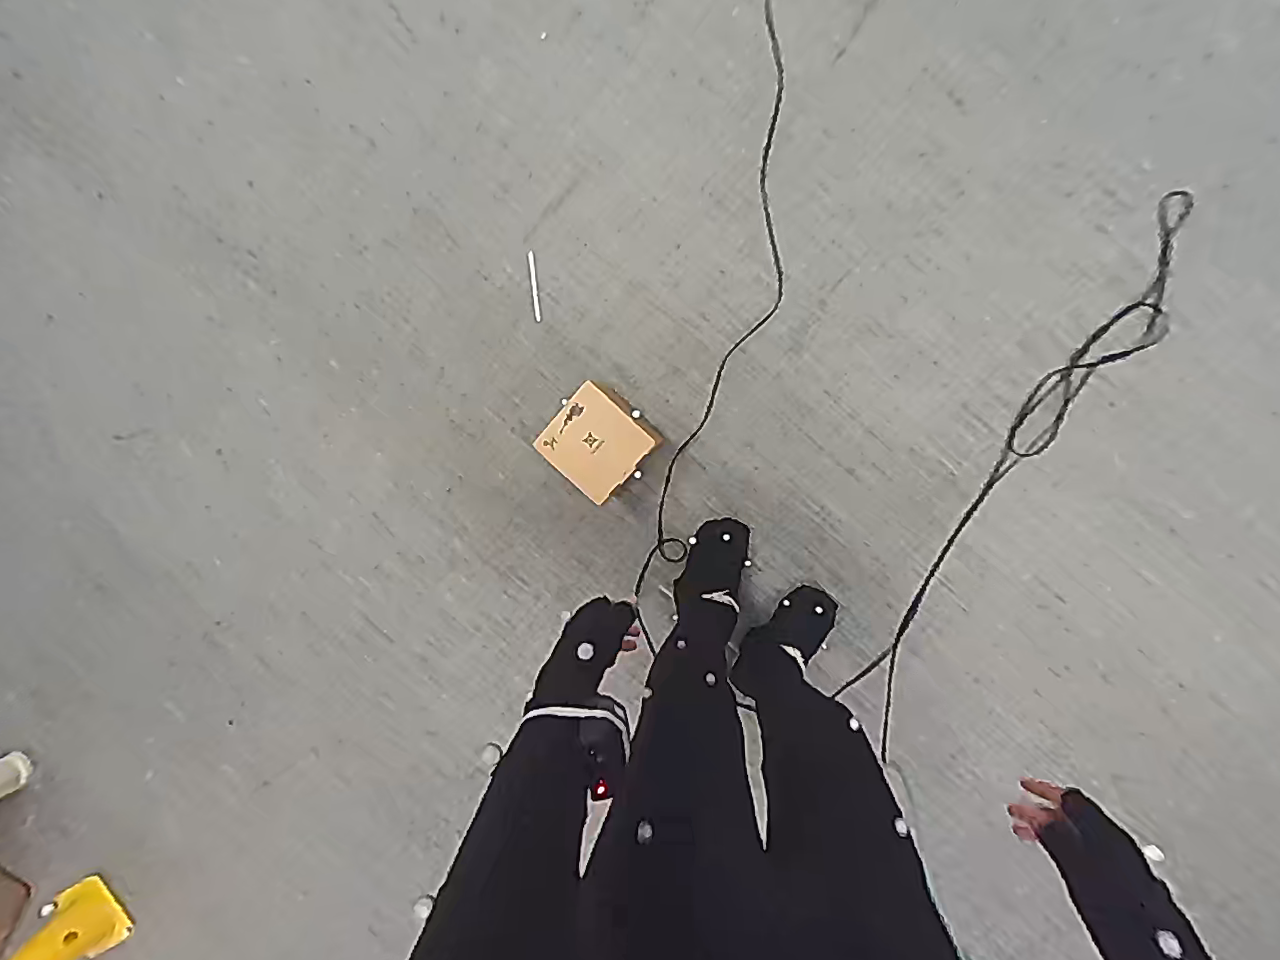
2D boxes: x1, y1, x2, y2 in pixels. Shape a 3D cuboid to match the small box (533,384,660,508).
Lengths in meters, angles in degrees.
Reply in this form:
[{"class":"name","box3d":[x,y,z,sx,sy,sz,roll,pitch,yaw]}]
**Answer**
[{"class":"small box","box3d":[-0.076,-0.073,1.072,0.179,0.176,0.168,43,100,0]}]
